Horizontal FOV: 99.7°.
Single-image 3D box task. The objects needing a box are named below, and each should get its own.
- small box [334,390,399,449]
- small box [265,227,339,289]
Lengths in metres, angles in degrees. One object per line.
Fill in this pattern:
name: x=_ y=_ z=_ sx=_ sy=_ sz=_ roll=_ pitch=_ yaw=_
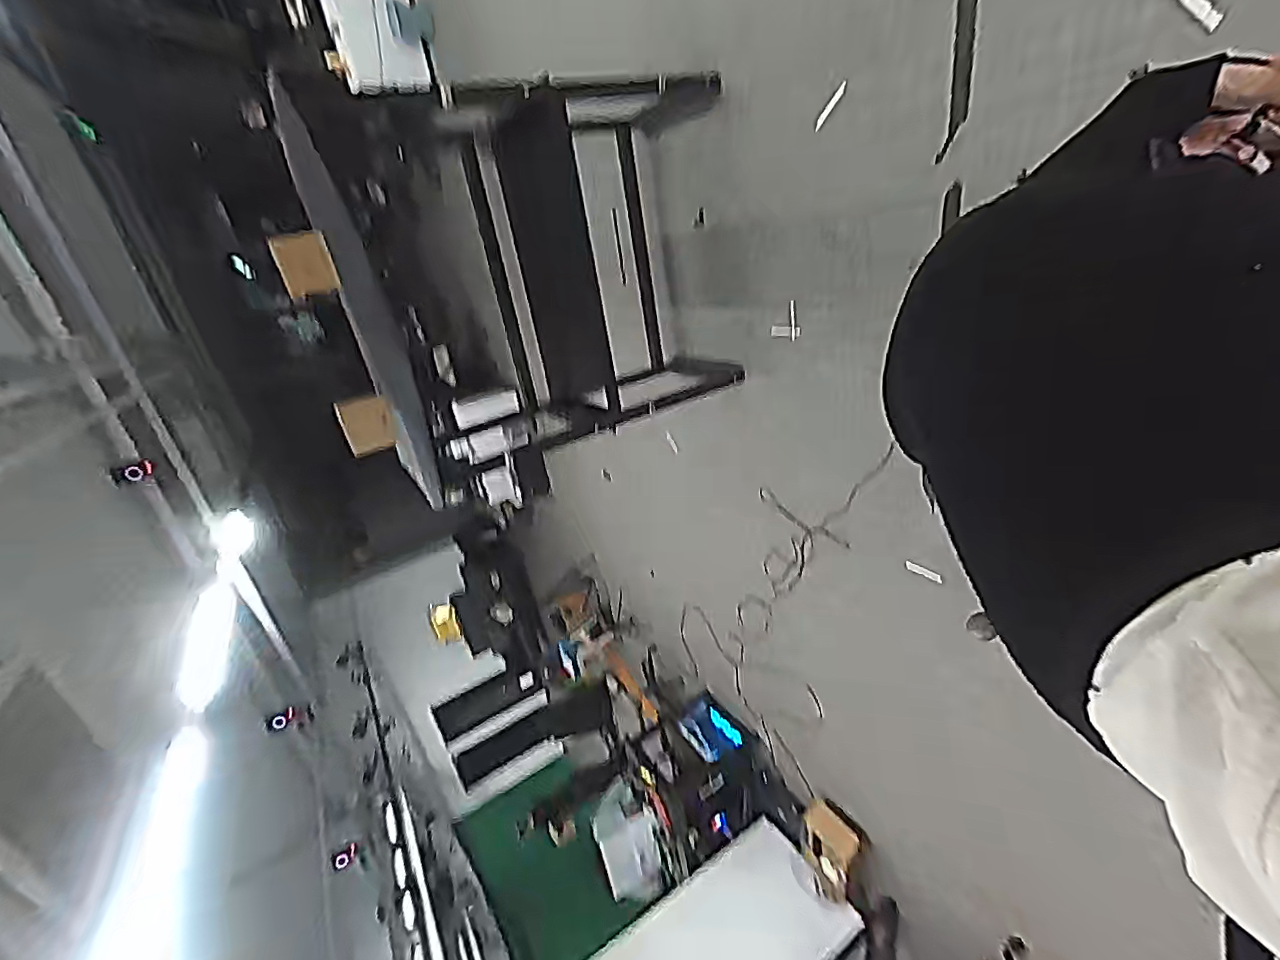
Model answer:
small box: x=-1.052 y=-0.238 z=2.079 sx=0.168 sy=0.176 sz=0.179 roll=25 pitch=131 yaw=55
small box: x=-1.153 y=-0.758 z=1.850 sx=0.179 sy=0.176 sz=0.168 roll=26 pitch=134 yaw=54
